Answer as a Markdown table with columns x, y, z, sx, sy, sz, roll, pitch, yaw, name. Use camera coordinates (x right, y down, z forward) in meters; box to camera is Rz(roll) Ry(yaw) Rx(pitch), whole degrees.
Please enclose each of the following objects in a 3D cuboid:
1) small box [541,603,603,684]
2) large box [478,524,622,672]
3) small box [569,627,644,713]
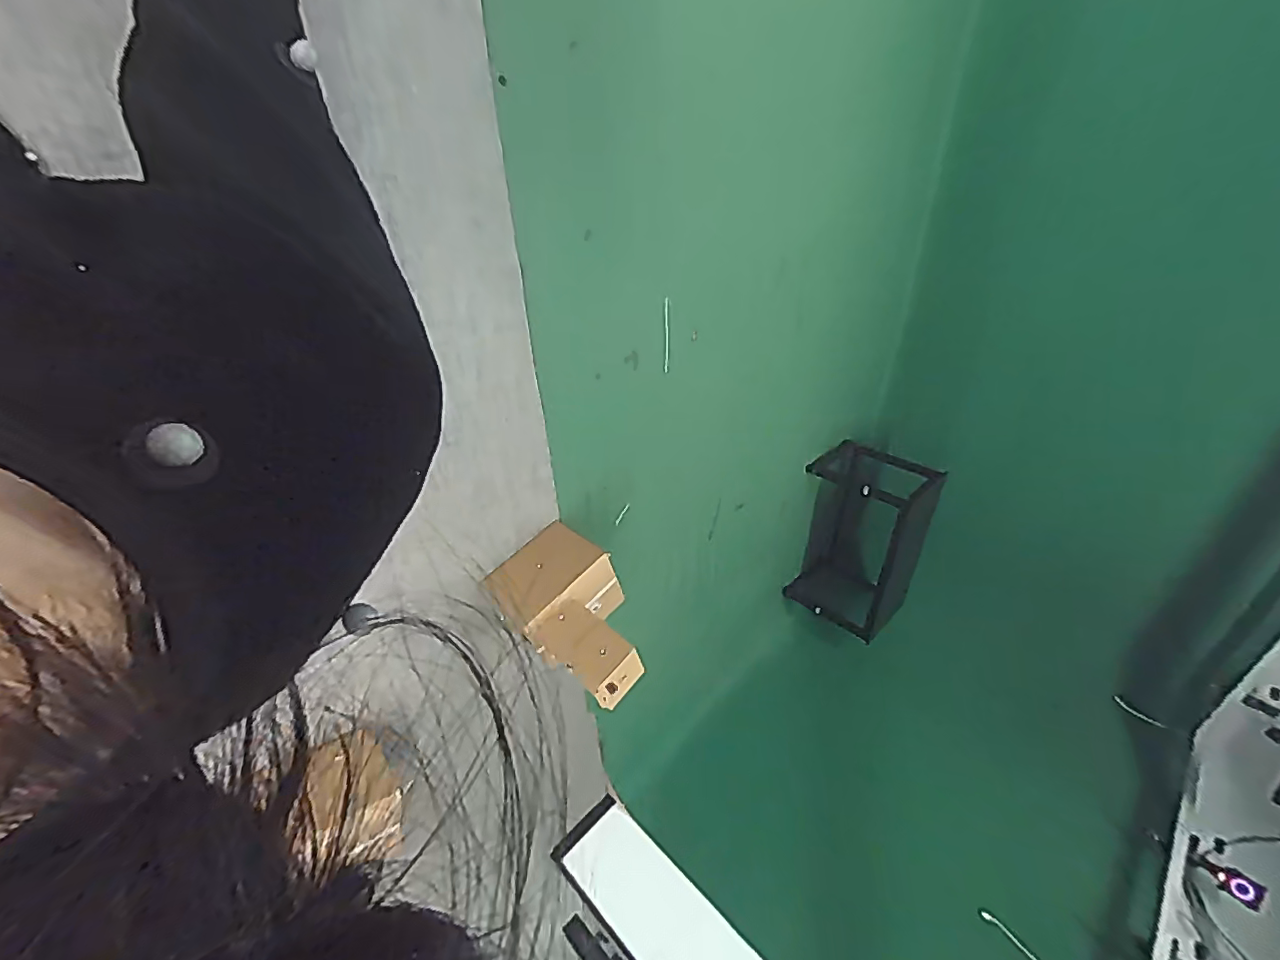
| x | y | z | sx | sy | sz | roll | pitch | yaw | name |
| --- | --- | --- | --- | --- | --- | --- | --- | --- | --- |
| -0.233 | 0.577 | 1.921 | 0.179 | 0.176 | 0.168 | -38 | 136 | -28 | small box |
| -0.345 | 0.451 | 2.119 | 0.408 | 0.320 | 0.320 | -42 | 139 | -26 | large box |
| -0.117 | 0.635 | 1.819 | 0.179 | 0.176 | 0.168 | -42 | 137 | -26 | small box |
